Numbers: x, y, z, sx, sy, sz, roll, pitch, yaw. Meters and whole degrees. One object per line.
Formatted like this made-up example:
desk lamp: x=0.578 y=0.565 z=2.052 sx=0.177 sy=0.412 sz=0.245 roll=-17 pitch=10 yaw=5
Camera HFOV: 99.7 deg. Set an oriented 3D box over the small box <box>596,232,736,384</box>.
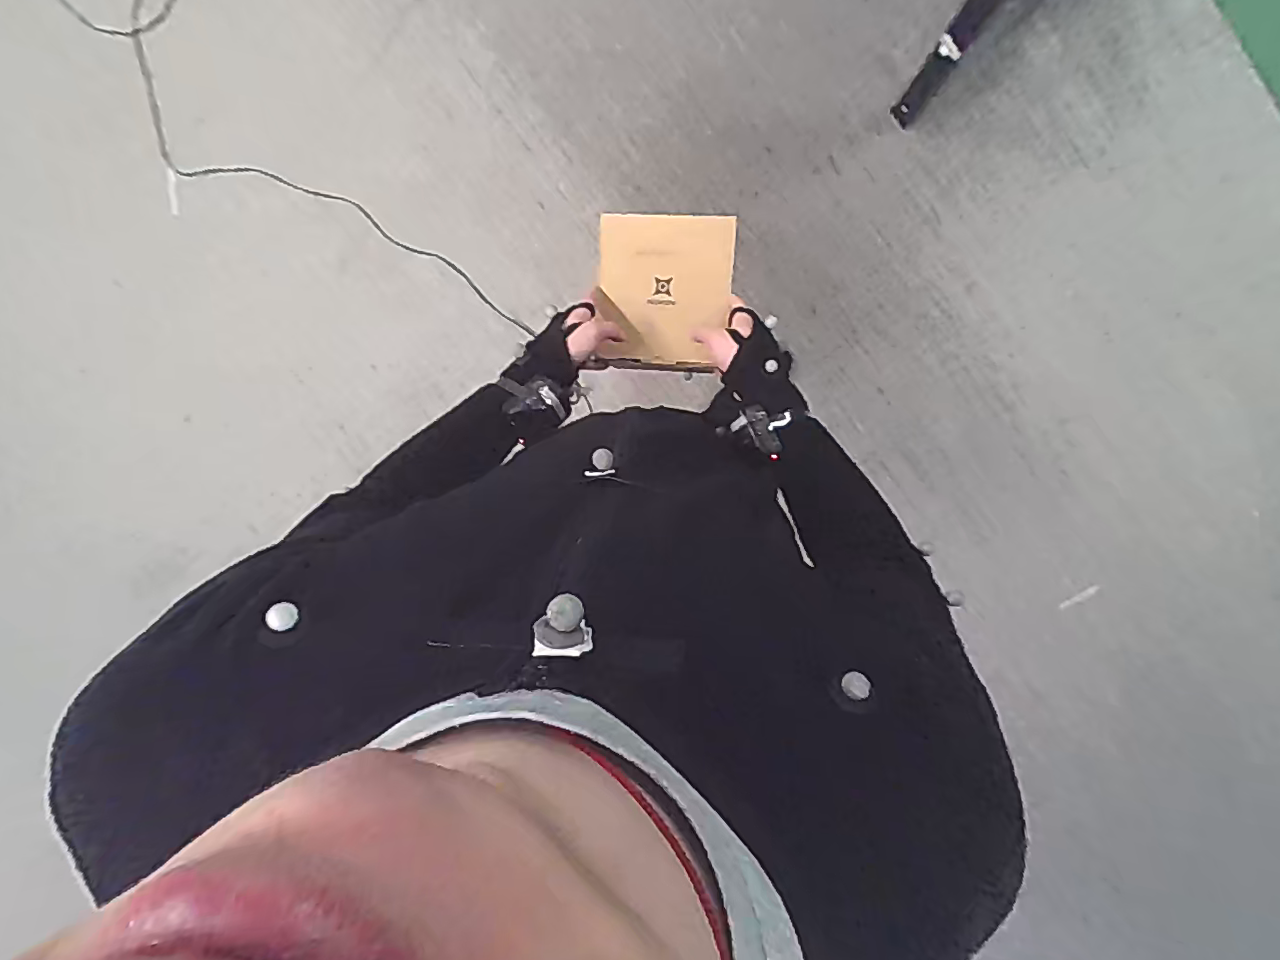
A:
small box: x=0.038 y=-0.221 z=0.732 sx=0.168 sy=0.176 sz=0.179 roll=2 pitch=99 yaw=5
